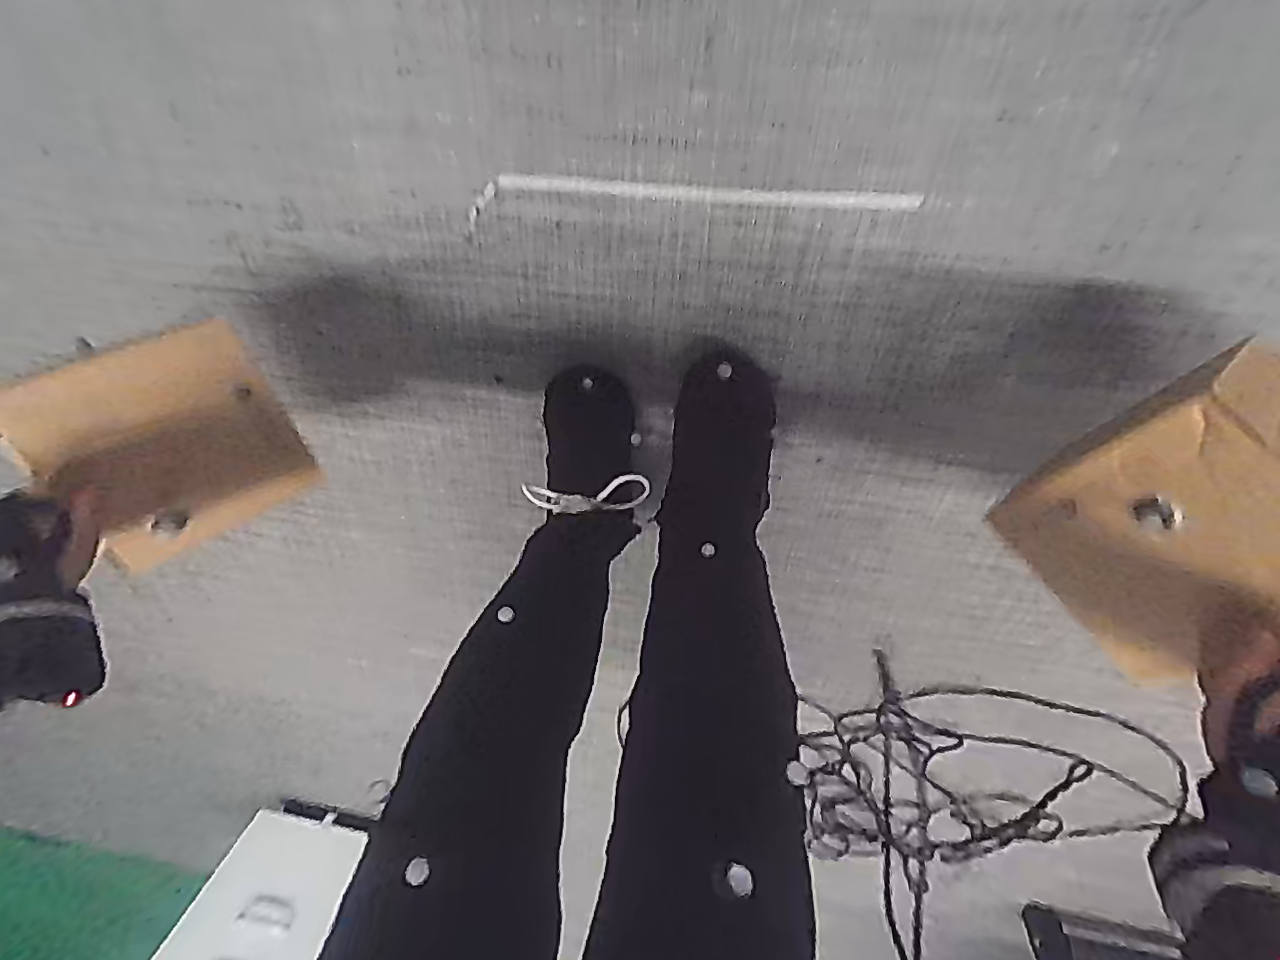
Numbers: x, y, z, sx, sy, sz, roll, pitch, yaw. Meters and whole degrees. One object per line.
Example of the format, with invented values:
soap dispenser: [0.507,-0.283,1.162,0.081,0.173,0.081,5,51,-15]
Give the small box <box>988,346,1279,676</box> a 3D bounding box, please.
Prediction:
small box: [0.428,0.020,0.418,0.176,0.179,0.168,59,151,19]
